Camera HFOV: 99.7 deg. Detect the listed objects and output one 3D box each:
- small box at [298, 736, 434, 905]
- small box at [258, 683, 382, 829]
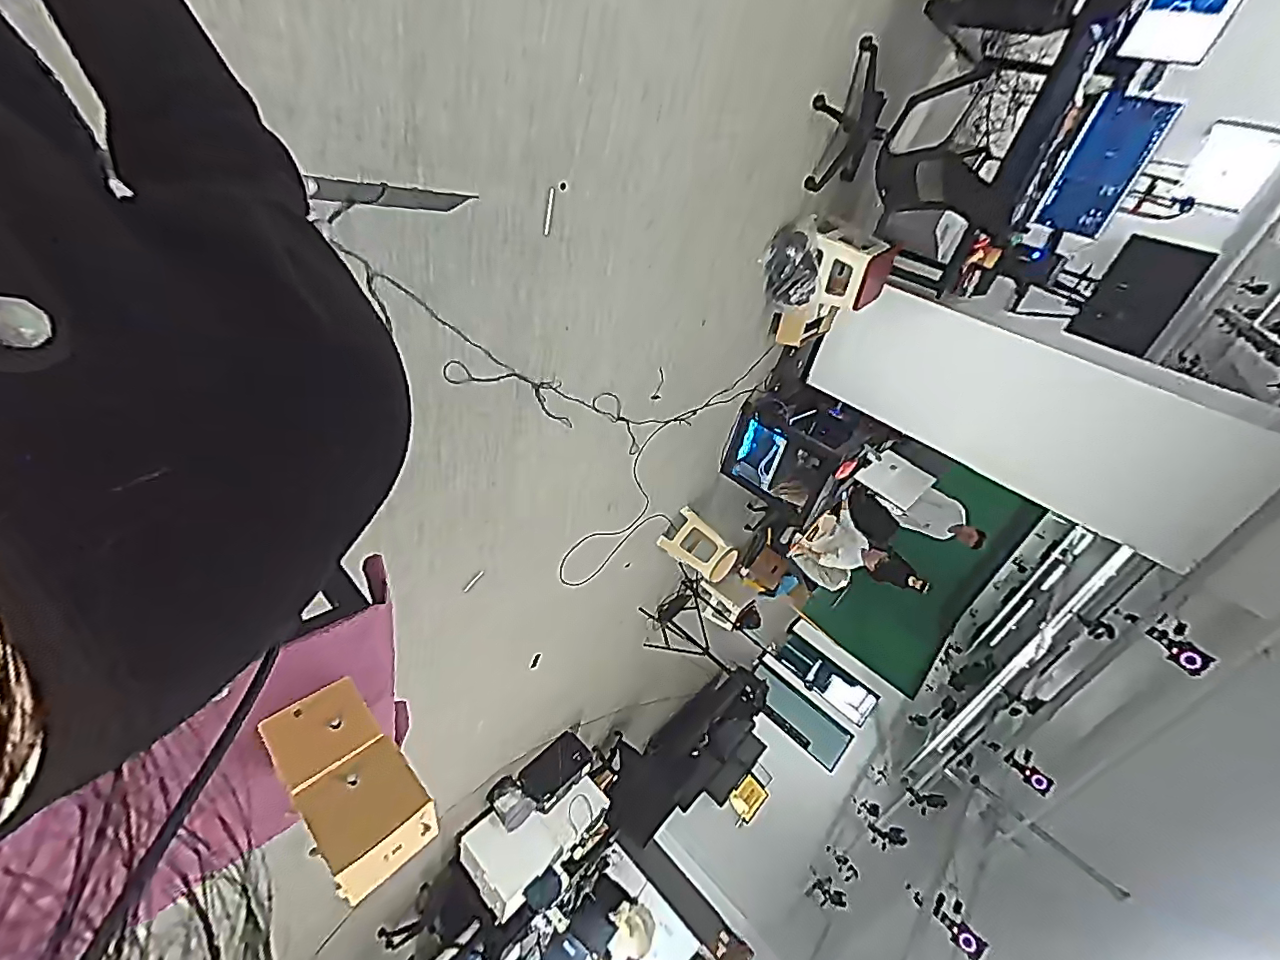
[{"bbox_3d":[-0.512,0.629,1.014,0.179,0.176,0.168,-27,143,-40],"label":"small box"},{"bbox_3d":[-0.632,0.540,1.083,0.168,0.176,0.179,-26,142,-42],"label":"small box"}]
